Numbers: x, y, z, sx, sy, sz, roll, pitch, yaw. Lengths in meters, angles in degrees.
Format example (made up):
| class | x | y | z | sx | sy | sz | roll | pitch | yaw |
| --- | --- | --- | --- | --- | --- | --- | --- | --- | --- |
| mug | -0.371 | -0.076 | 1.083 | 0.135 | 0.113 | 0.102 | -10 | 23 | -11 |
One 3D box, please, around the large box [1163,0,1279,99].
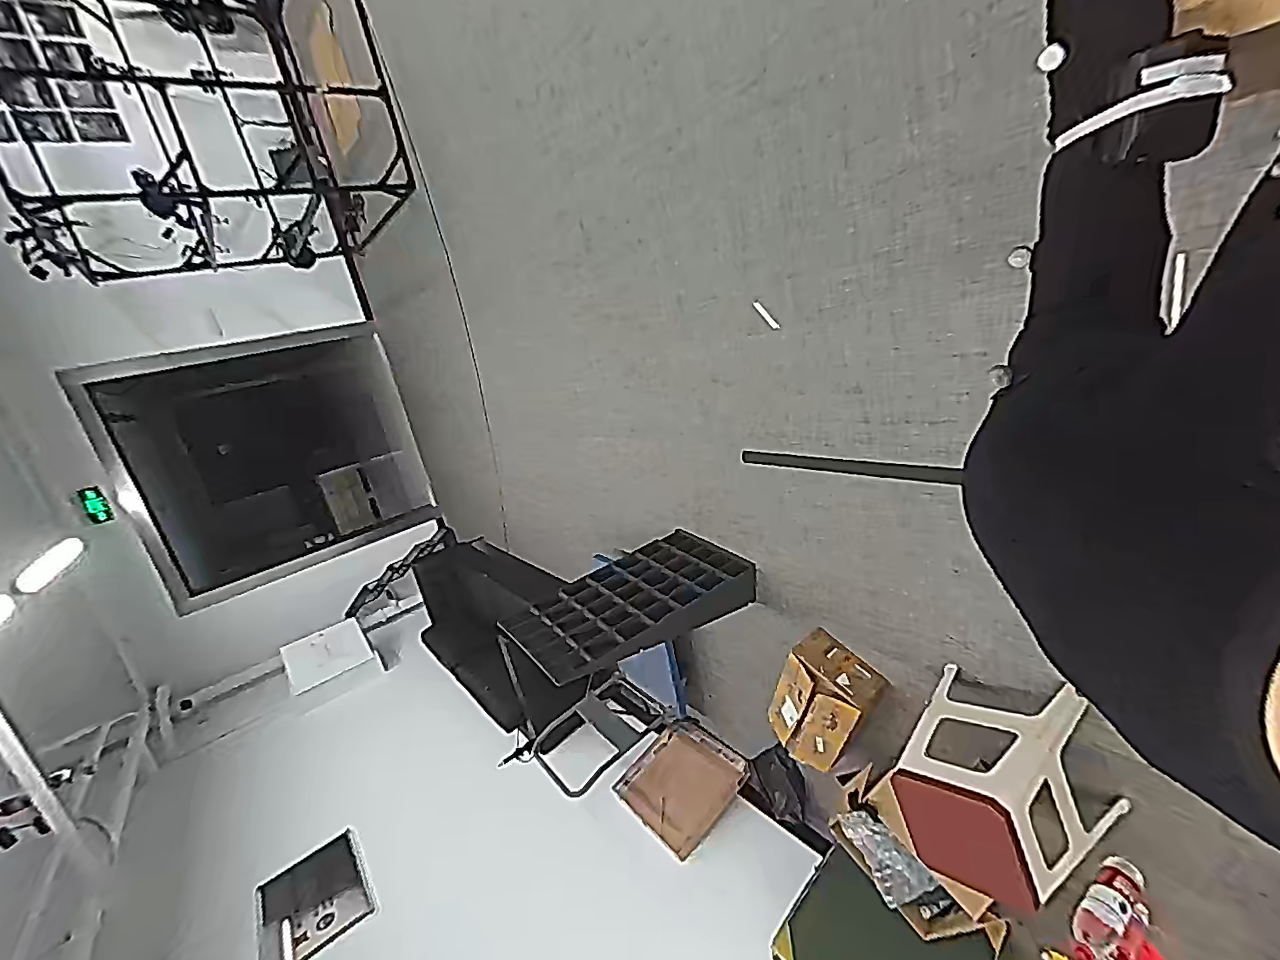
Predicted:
| class | x | y | z | sx | sy | sz | roll | pitch | yaw |
| --- | --- | --- | --- | --- | --- | --- | --- | --- | --- |
| large box | 0.565 | -0.470 | 0.273 | 0.408 | 0.320 | 0.320 | 7 | 113 | 50 |
